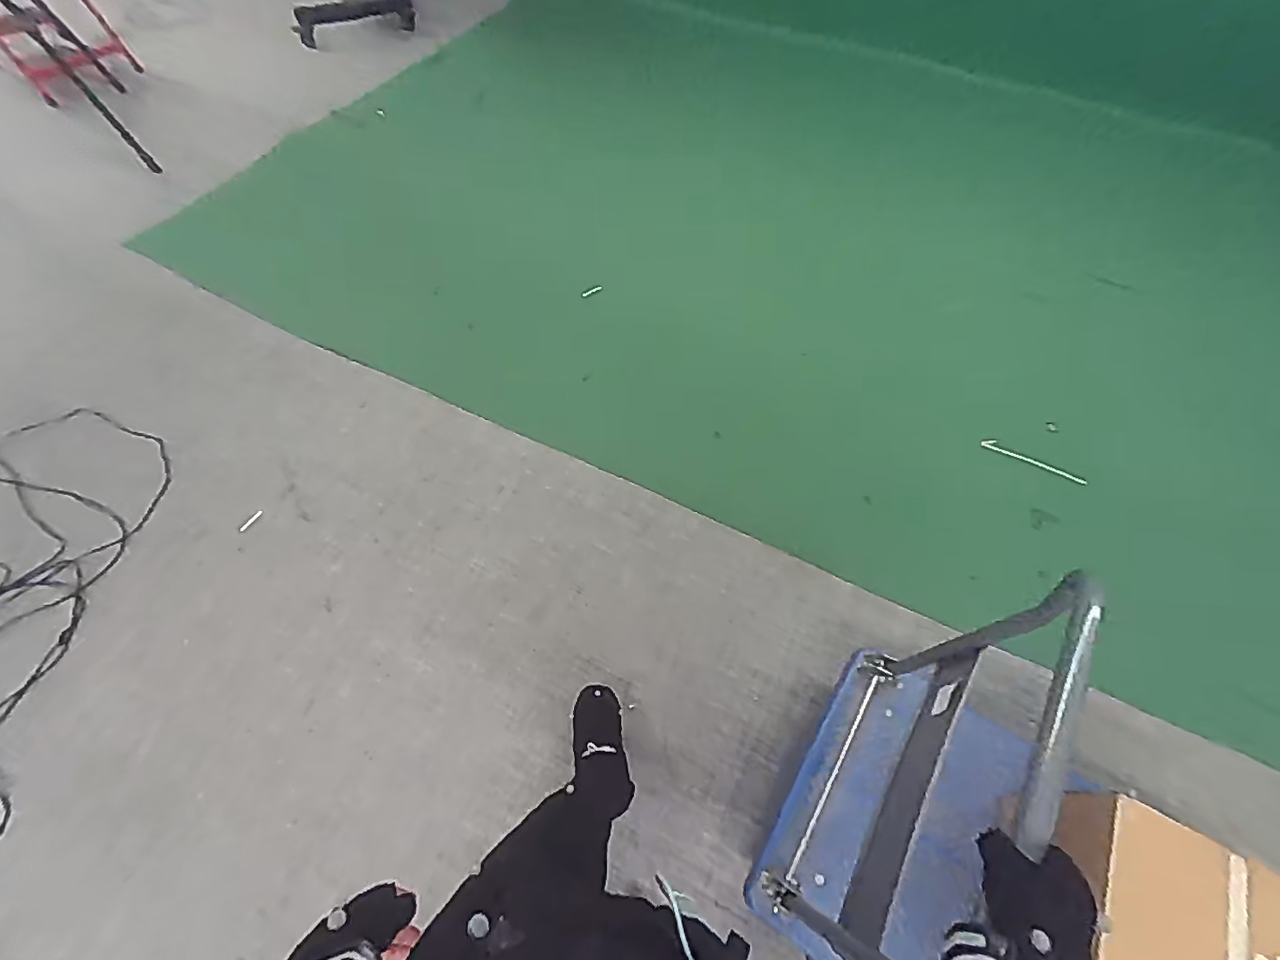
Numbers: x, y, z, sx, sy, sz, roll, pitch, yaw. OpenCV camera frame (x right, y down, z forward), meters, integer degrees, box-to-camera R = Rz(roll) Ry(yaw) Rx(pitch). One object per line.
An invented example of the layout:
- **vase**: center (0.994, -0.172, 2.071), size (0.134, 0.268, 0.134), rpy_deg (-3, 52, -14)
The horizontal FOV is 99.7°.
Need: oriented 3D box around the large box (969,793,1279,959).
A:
- **large box**: center (0.759, 0.774, 0.834), size (0.320, 0.320, 0.408), rpy_deg (28, 62, 14)
